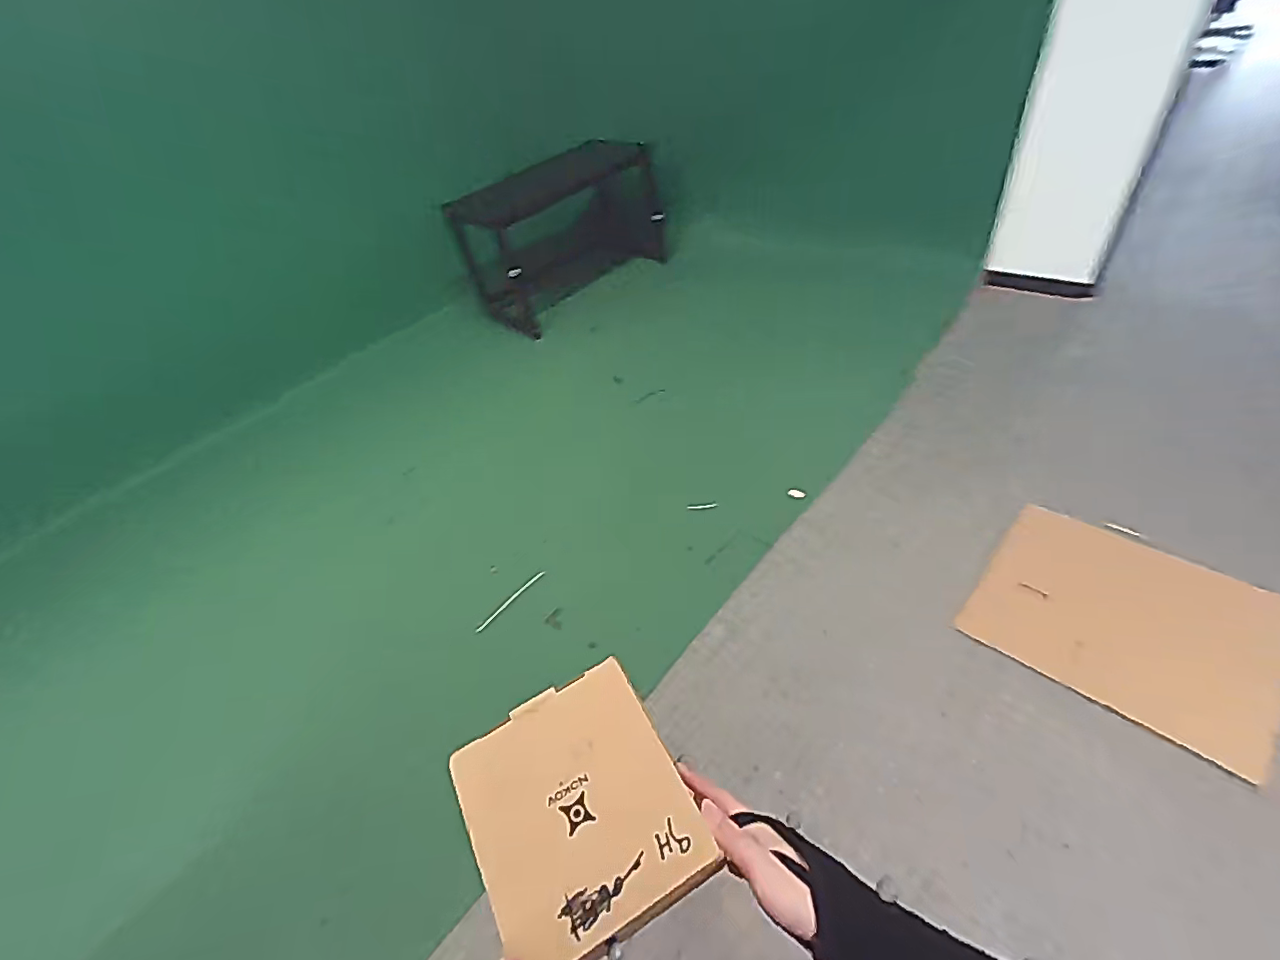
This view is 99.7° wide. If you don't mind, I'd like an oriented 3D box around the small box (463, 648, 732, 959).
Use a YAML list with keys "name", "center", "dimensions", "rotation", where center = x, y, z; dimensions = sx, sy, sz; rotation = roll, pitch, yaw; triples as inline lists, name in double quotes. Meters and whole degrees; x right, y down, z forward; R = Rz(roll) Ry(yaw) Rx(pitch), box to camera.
- name: "small box"
  center: [-0.032, 0.293, 0.490]
  dimensions: [0.168, 0.176, 0.179]
  rotation: [-28, 52, -10]
